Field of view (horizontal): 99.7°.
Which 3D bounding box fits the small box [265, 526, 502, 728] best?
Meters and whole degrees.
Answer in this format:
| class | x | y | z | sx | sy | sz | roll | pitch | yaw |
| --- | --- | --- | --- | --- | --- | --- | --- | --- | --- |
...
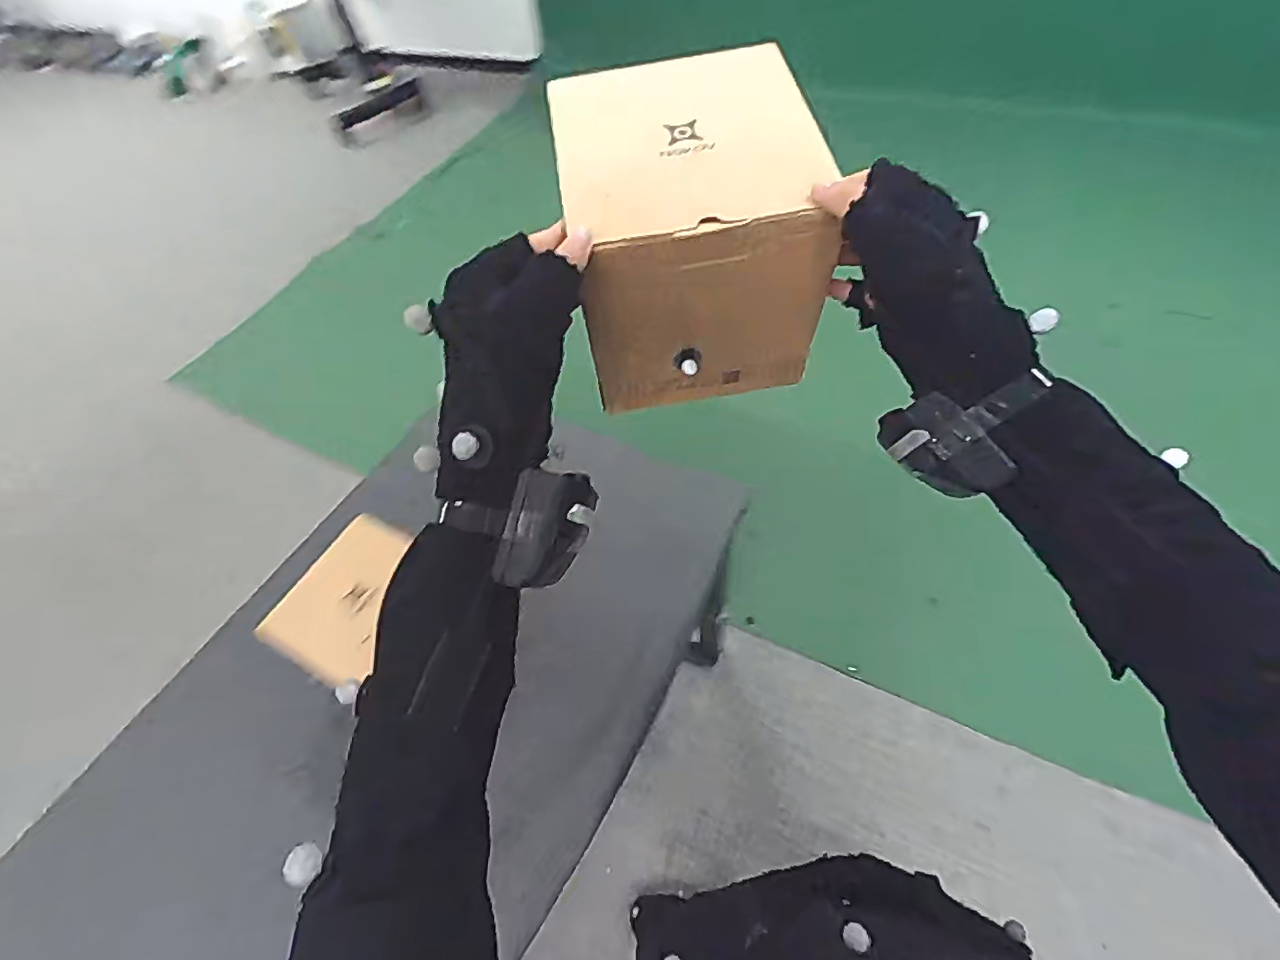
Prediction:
| class | x | y | z | sx | sy | sz | roll | pitch | yaw |
| --- | --- | --- | --- | --- | --- | --- | --- | --- | --- |
| small box | -0.310 | 0.192 | 0.689 | 0.179 | 0.176 | 0.168 | 21 | 61 | 20 |
